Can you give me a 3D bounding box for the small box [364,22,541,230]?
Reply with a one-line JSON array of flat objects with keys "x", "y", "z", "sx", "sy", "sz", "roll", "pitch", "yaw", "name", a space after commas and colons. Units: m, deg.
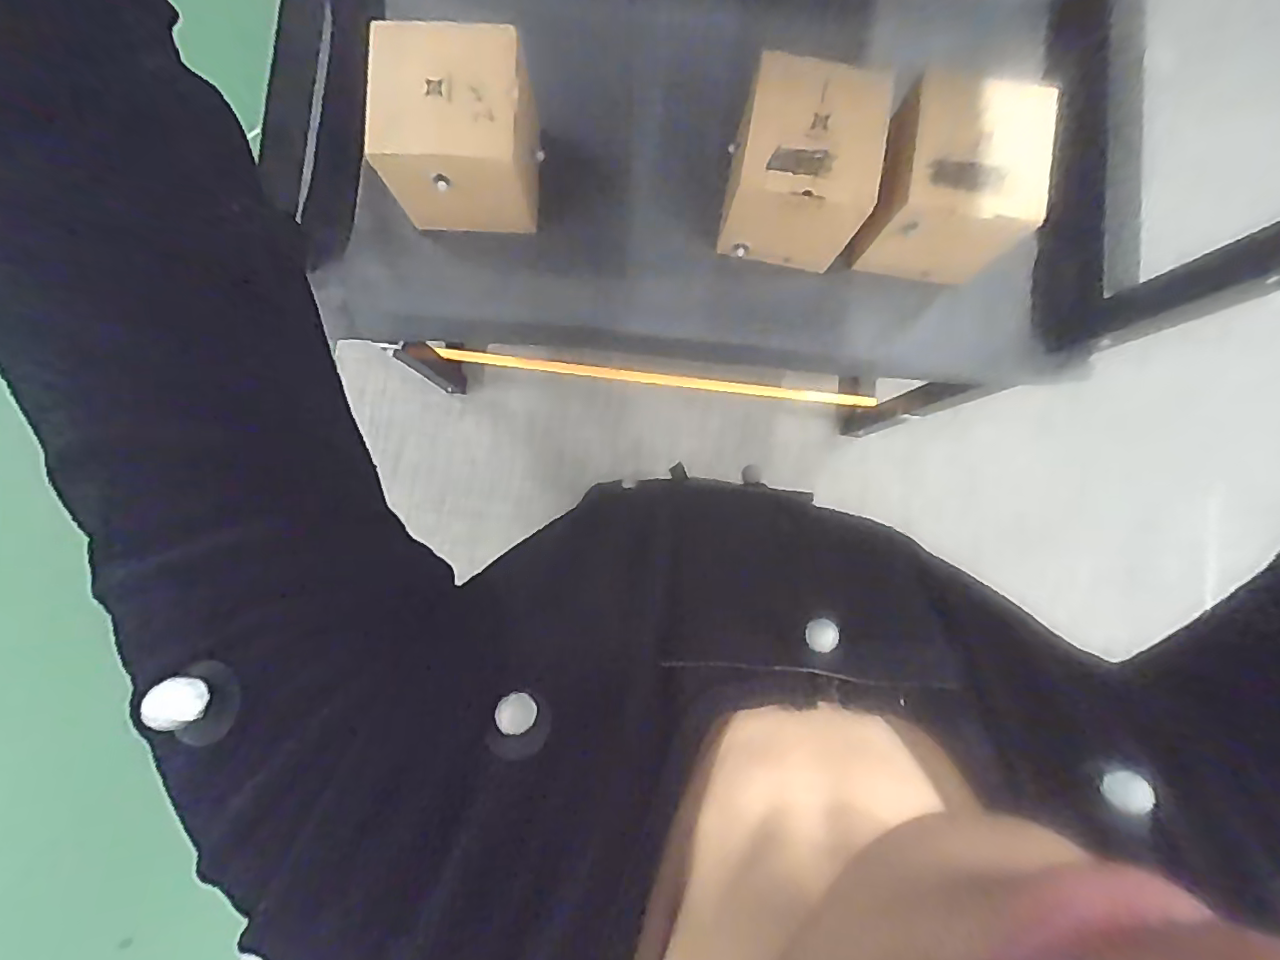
[{"x": -0.234, "y": -0.452, "z": 0.716, "sx": 0.179, "sy": 0.176, "sz": 0.168, "roll": 1, "pitch": 87, "yaw": -2, "name": "small box"}]
